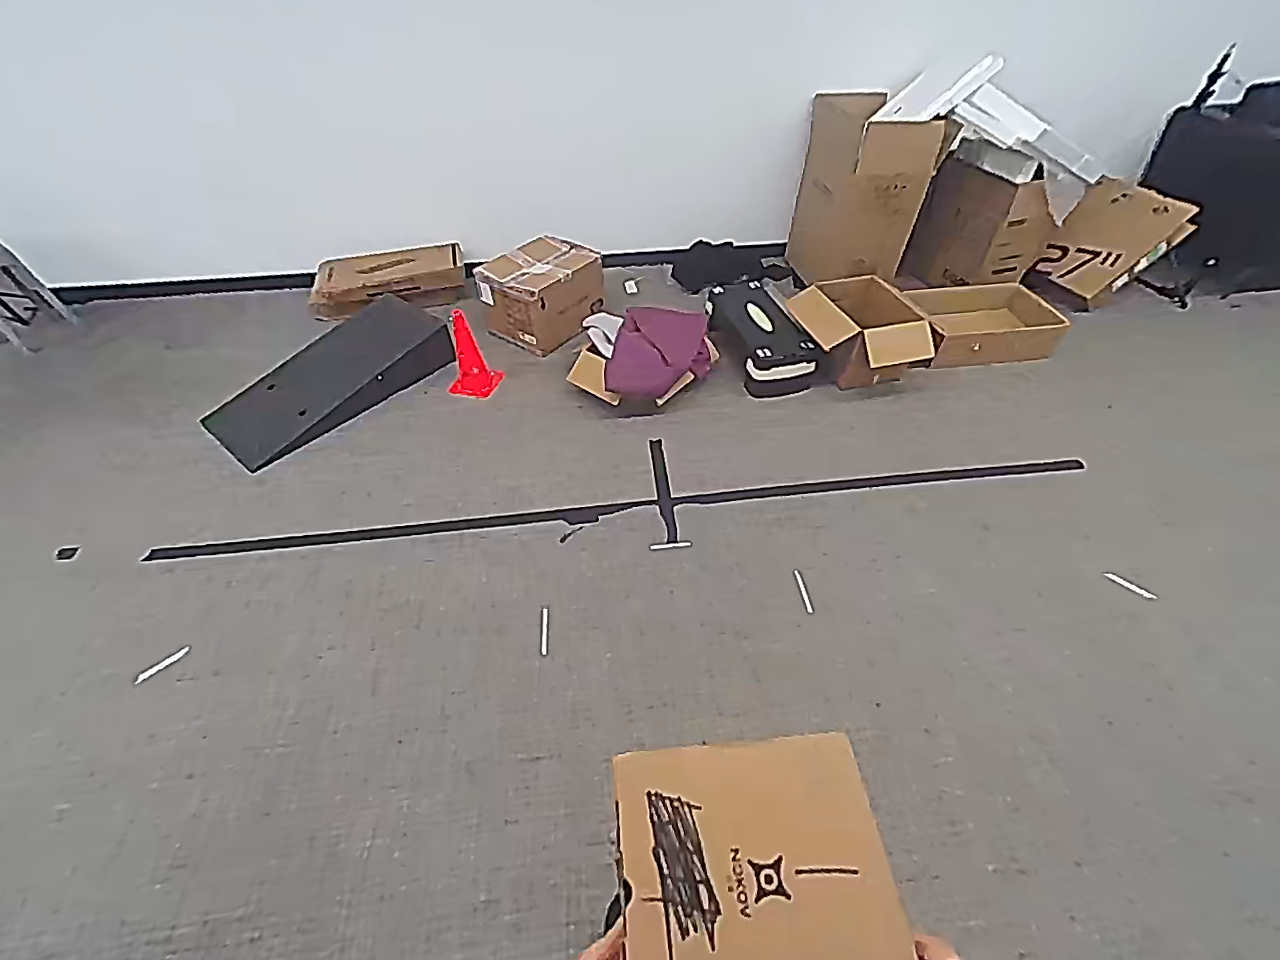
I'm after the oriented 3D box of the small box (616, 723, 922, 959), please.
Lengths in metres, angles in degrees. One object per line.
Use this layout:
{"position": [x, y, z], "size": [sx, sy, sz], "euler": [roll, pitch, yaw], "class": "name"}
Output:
{"position": [0.077, 0.301, 0.408], "size": [0.179, 0.176, 0.168], "euler": [-4, 49, -2], "class": "small box"}
